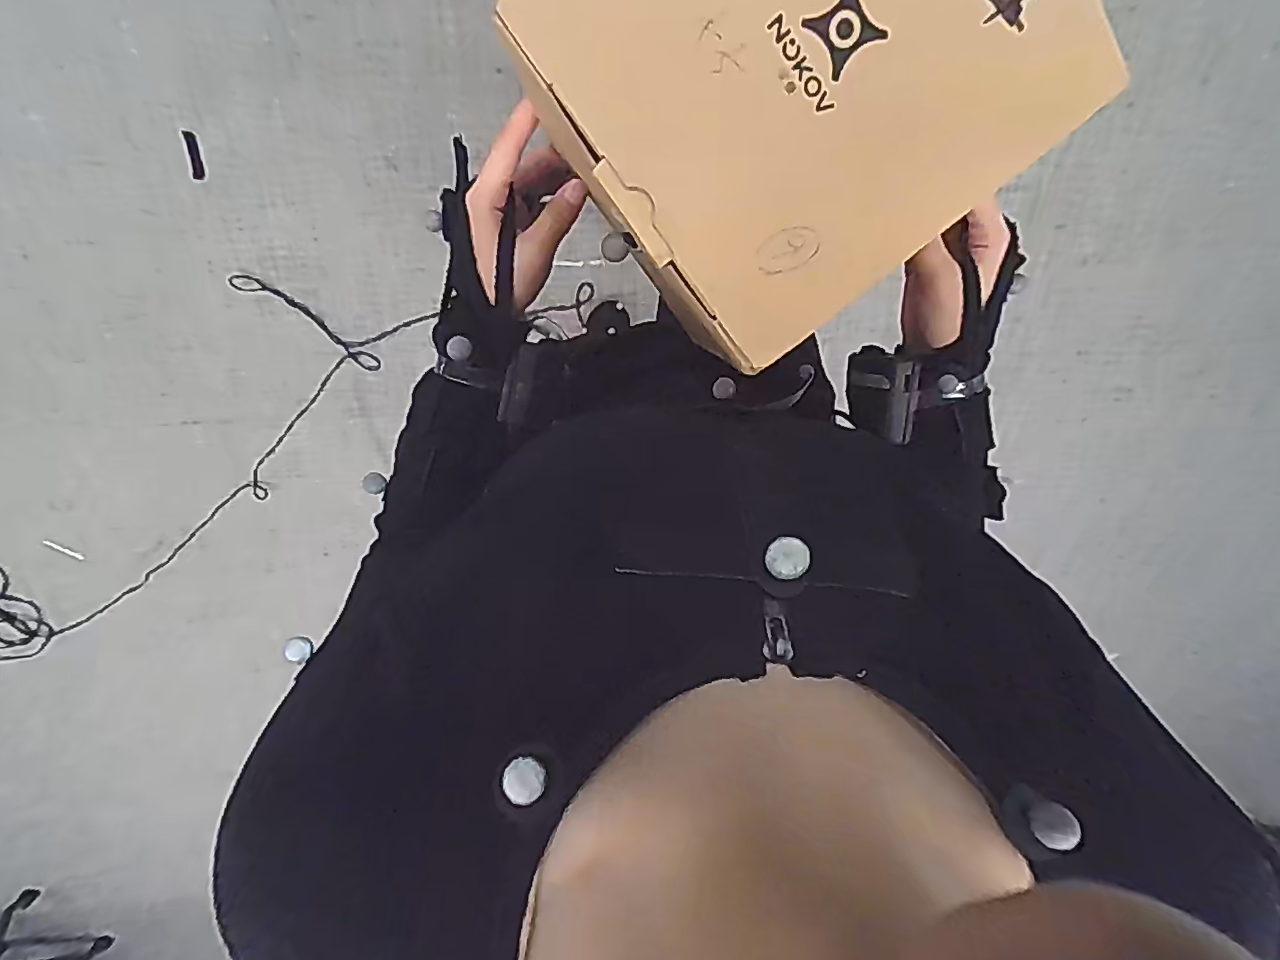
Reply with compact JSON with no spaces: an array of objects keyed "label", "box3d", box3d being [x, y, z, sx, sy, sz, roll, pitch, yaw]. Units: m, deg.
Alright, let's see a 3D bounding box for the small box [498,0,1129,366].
[{"label":"small box","box3d":[0.064,-0.181,0.272,0.179,0.176,0.168,-37,105,11]}]
